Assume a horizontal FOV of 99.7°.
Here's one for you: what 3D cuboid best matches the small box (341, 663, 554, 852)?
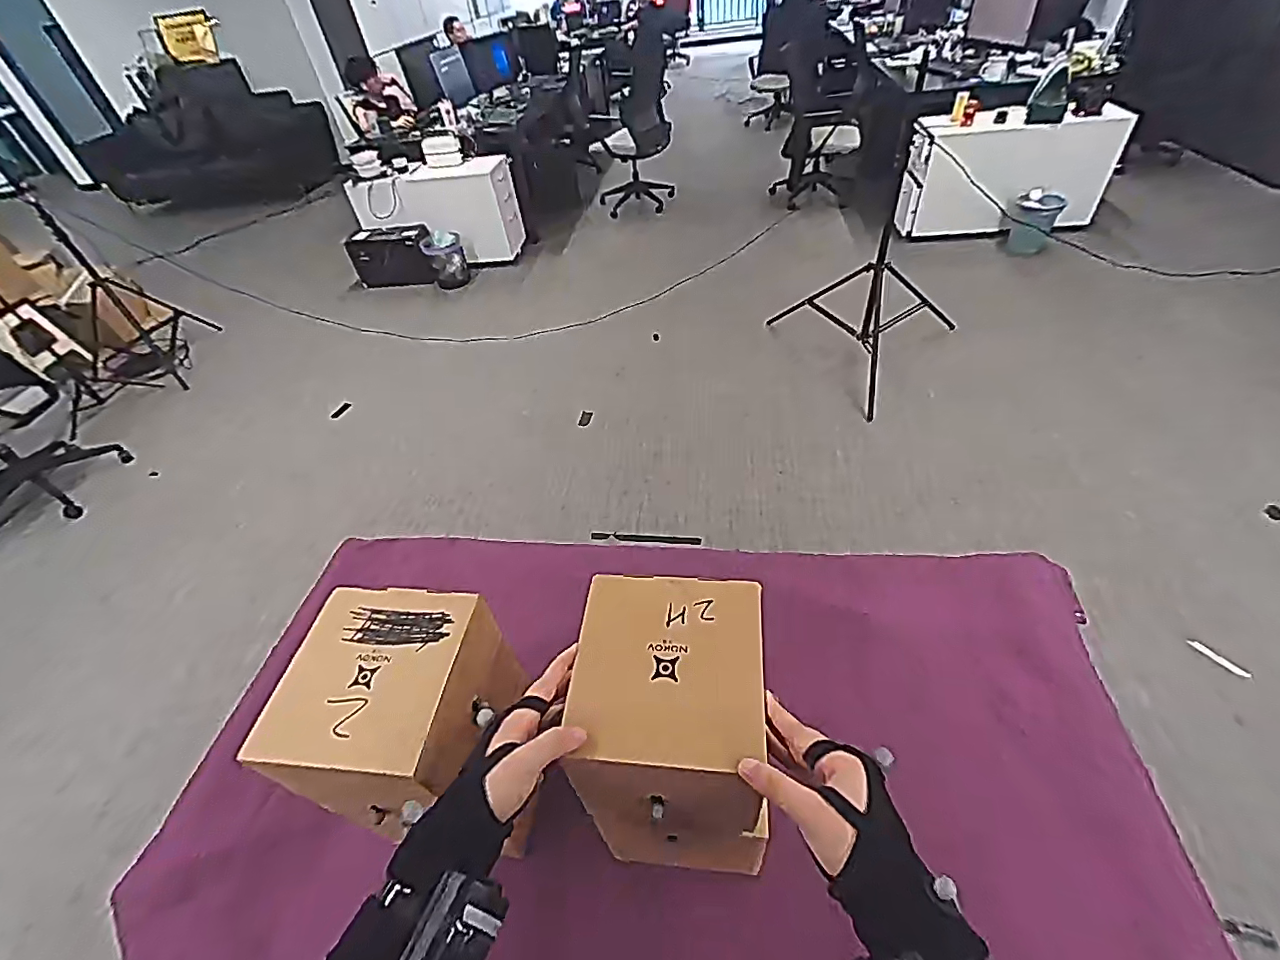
[{"bbox_3d":[-0.223,0.350,0.681,0.179,0.176,0.168,0,45,8],"label":"small box"}]

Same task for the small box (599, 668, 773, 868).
[{"bbox_3d":[0.061,0.344,0.646,0.179,0.176,0.168,0,45,9],"label":"small box"}]
